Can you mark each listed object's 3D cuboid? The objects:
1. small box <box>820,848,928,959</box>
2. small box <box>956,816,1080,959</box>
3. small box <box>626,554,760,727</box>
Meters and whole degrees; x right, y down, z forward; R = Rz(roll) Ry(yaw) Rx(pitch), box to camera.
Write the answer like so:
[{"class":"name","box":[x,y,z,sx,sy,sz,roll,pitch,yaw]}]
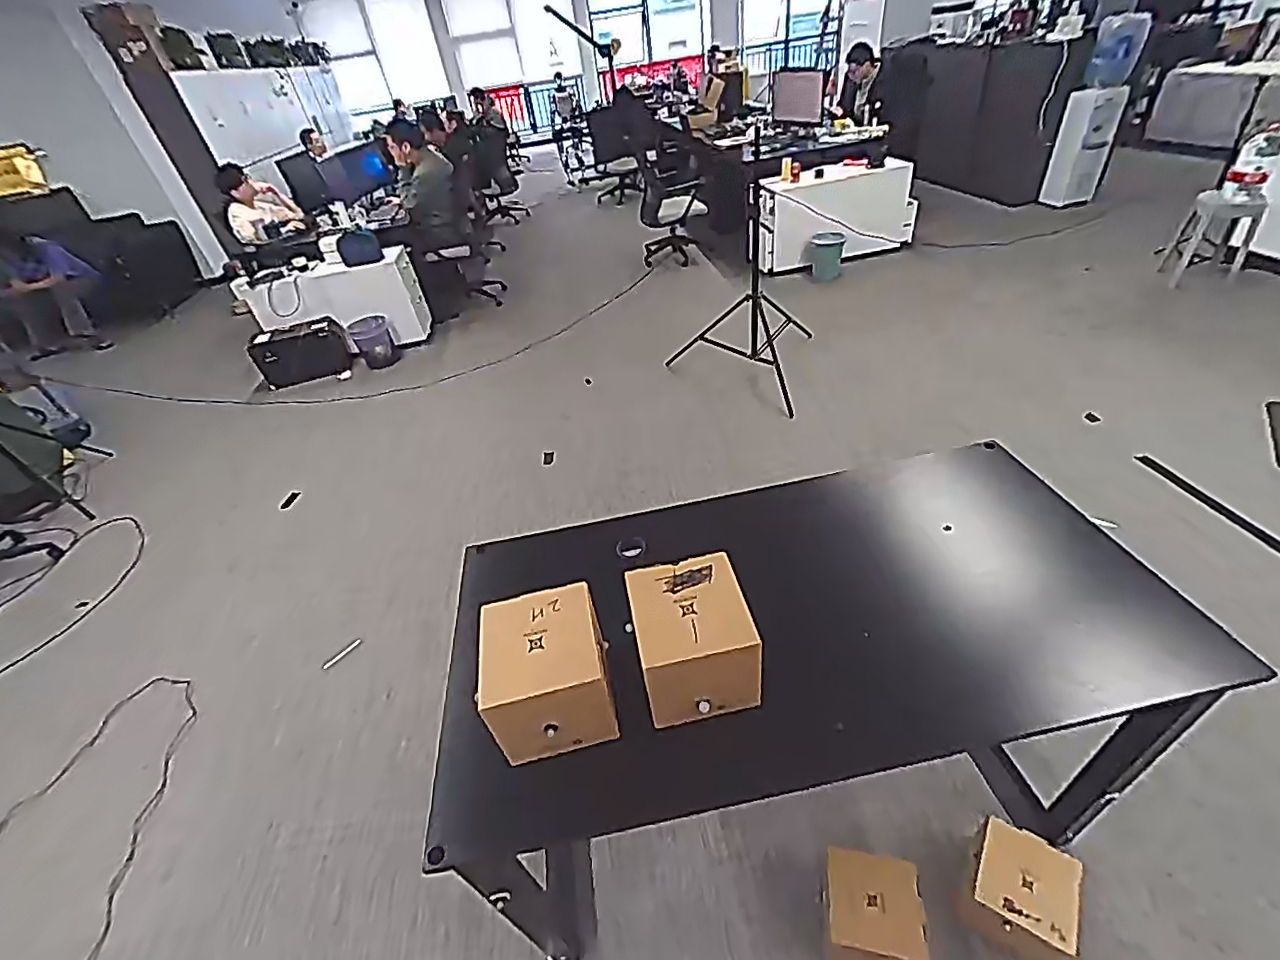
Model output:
[{"class":"small box","box":[0.473,0.899,1.120,0.179,0.176,0.168,1,39,14]},{"class":"small box","box":[0.772,0.849,1.114,0.168,0.176,0.179,18,47,30]},{"class":"small box","box":[0.078,0.247,0.836,0.168,0.176,0.179,-12,39,-2]}]
